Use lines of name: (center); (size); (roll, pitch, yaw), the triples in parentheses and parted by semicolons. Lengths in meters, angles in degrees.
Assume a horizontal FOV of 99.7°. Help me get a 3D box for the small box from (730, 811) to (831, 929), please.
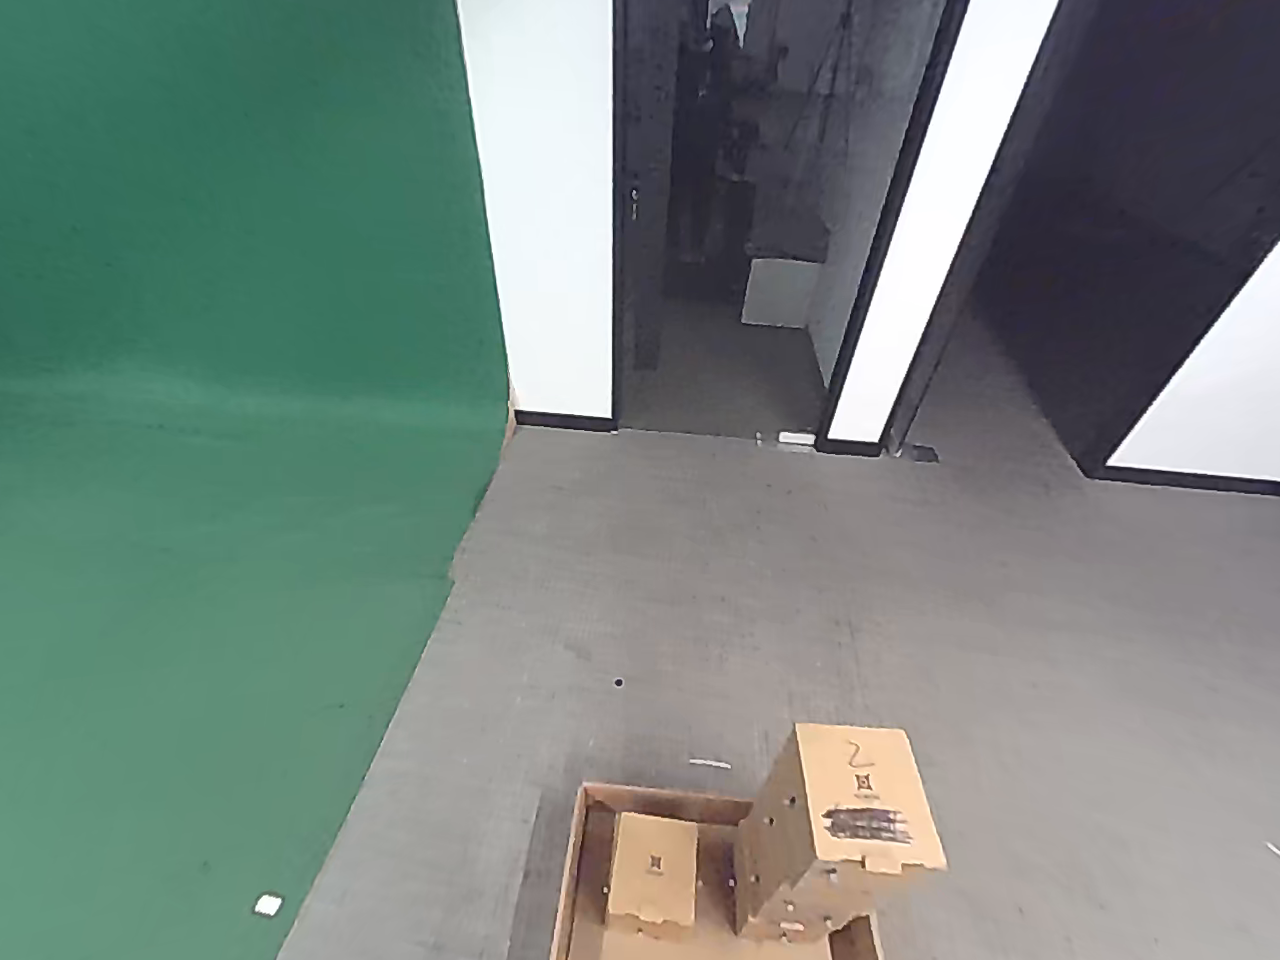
small box: (0.288, 0.826, 1.144); (0.168, 0.176, 0.179); (1, 42, 1)

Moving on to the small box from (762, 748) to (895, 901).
small box: (0.306, 0.587, 0.919); (0.168, 0.176, 0.179); (5, 42, 3)

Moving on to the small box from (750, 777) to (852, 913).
small box: (0.305, 0.692, 1.022); (0.168, 0.176, 0.179); (4, 42, 3)
